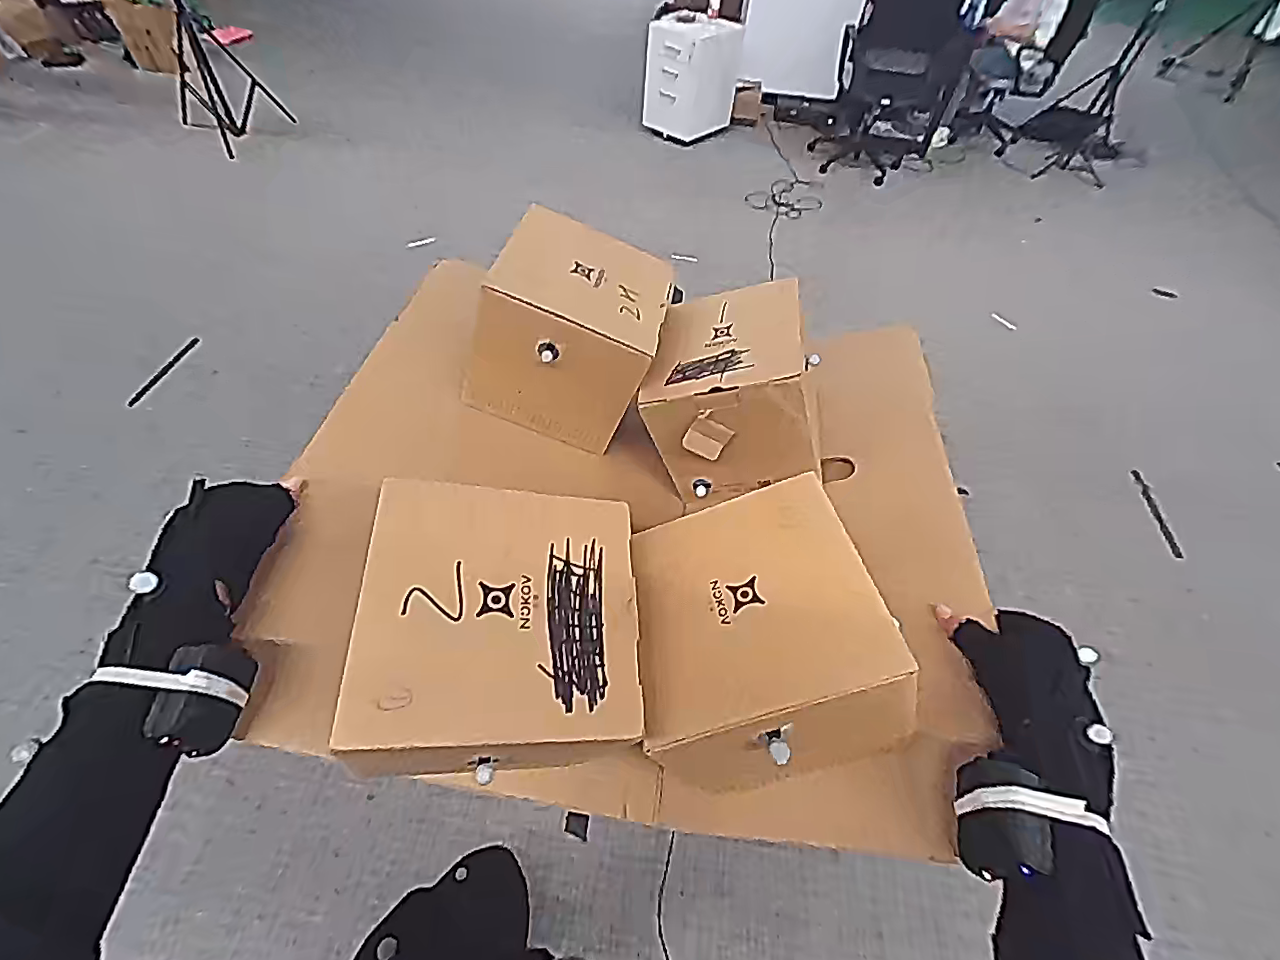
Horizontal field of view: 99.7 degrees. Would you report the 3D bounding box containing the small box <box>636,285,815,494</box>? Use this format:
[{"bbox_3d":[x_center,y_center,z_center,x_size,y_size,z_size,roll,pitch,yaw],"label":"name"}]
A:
[{"bbox_3d":[0.112,-0.096,0.642,0.168,0.176,0.179,-6,47,21],"label":"small box"}]
